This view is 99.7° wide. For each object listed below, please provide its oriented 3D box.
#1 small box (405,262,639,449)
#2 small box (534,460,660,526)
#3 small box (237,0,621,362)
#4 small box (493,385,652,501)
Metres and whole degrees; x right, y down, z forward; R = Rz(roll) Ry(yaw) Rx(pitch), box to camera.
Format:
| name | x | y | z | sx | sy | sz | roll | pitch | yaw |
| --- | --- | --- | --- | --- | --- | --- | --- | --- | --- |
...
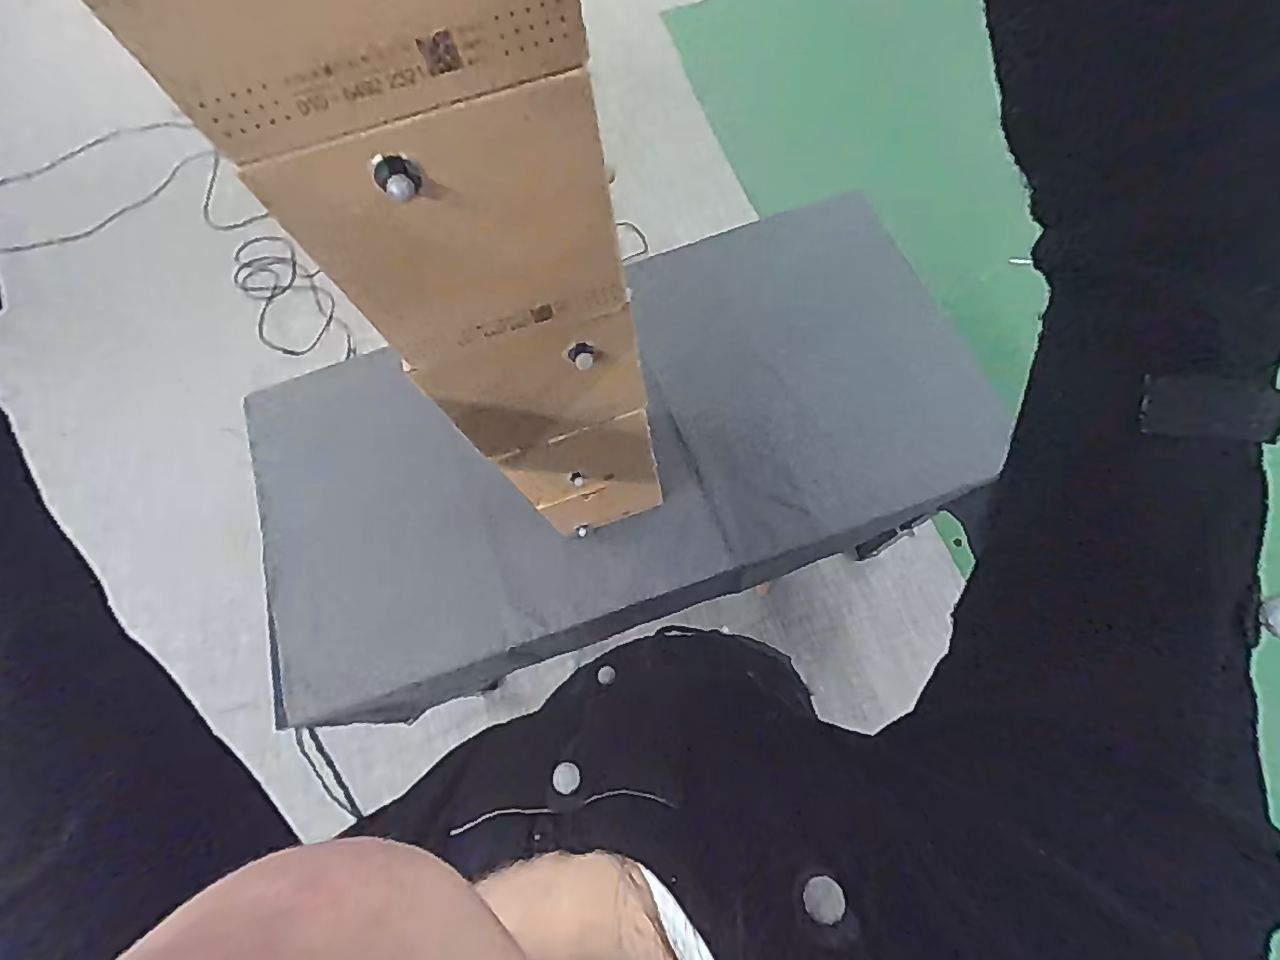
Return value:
| name | x | y | z | sx | sy | sz | roll | pitch | yaw |
| --- | --- | --- | --- | --- | --- | --- | --- | --- | --- |
| small box | -0.105 | -0.152 | 0.505 | 0.179 | 0.176 | 0.168 | -19 | 69 | -1 |
| small box | -0.075 | -0.043 | 0.811 | 0.168 | 0.176 | 0.179 | -20 | 68 | -1 |
| small box | -0.118 | -0.209 | 0.352 | 0.168 | 0.176 | 0.179 | -17 | 69 | 0 |
| small box | -0.092 | -0.098 | 0.660 | 0.168 | 0.176 | 0.179 | -20 | 69 | -1 |
